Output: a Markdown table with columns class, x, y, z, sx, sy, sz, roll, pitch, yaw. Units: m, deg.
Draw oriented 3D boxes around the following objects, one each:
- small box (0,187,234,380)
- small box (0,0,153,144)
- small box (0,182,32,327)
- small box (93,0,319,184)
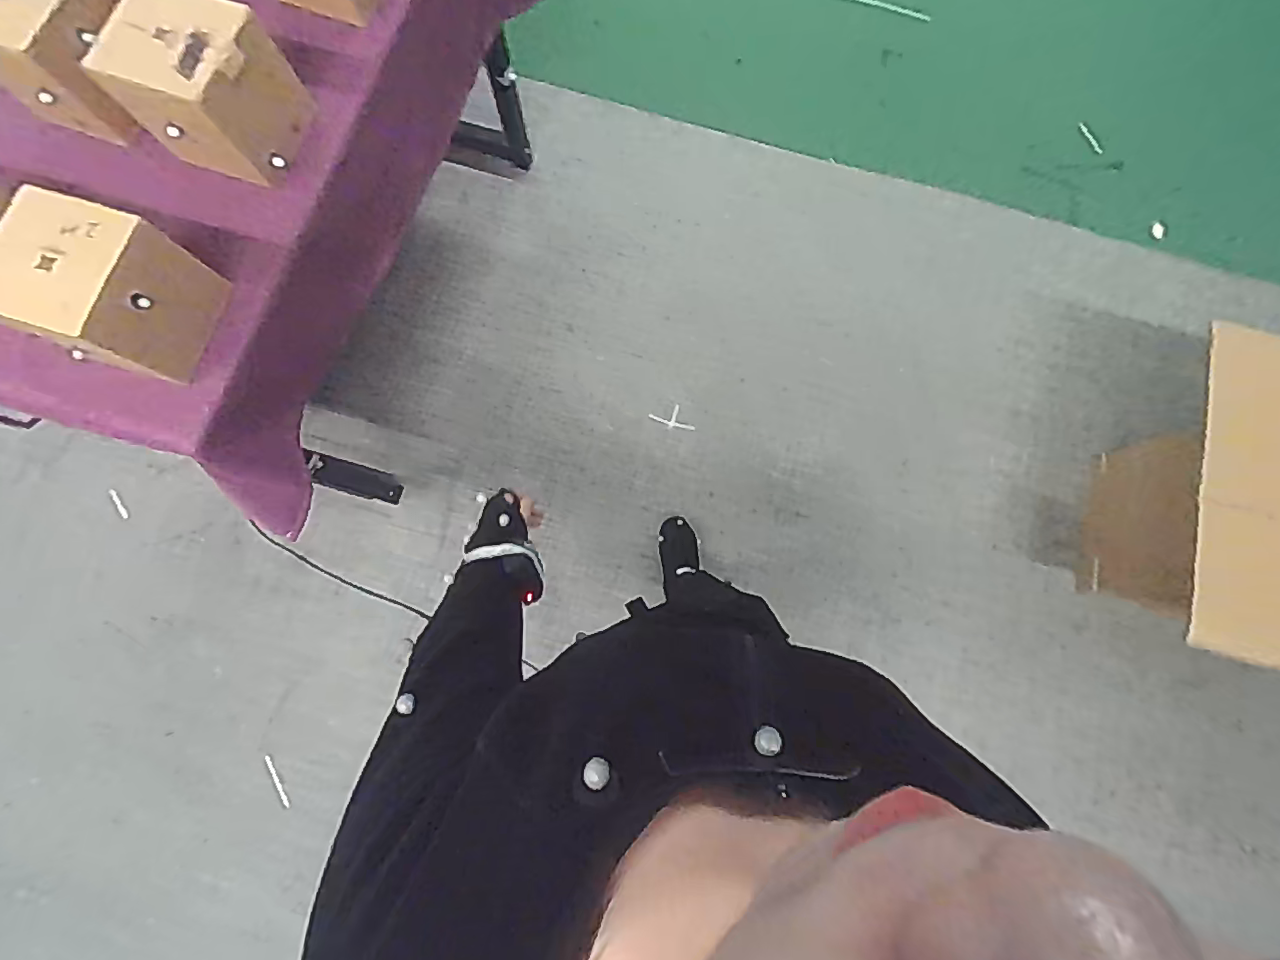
| class | x | y | z | sx | sy | sz | roll | pitch | yaw |
| --- | --- | --- | --- | --- | --- | --- | --- | --- | --- |
| small box | -0.730 | -0.263 | 0.762 | 0.168 | 0.176 | 0.179 | 17 | 80 | 3 |
| small box | -0.876 | -0.671 | 0.839 | 0.168 | 0.176 | 0.179 | 21 | 79 | 3 |
| small box | -0.975 | -0.345 | 0.776 | 0.179 | 0.176 | 0.168 | 18 | 79 | 3 |
| small box | -0.639 | -0.591 | 0.825 | 0.179 | 0.176 | 0.168 | 19 | 80 | 4 |
